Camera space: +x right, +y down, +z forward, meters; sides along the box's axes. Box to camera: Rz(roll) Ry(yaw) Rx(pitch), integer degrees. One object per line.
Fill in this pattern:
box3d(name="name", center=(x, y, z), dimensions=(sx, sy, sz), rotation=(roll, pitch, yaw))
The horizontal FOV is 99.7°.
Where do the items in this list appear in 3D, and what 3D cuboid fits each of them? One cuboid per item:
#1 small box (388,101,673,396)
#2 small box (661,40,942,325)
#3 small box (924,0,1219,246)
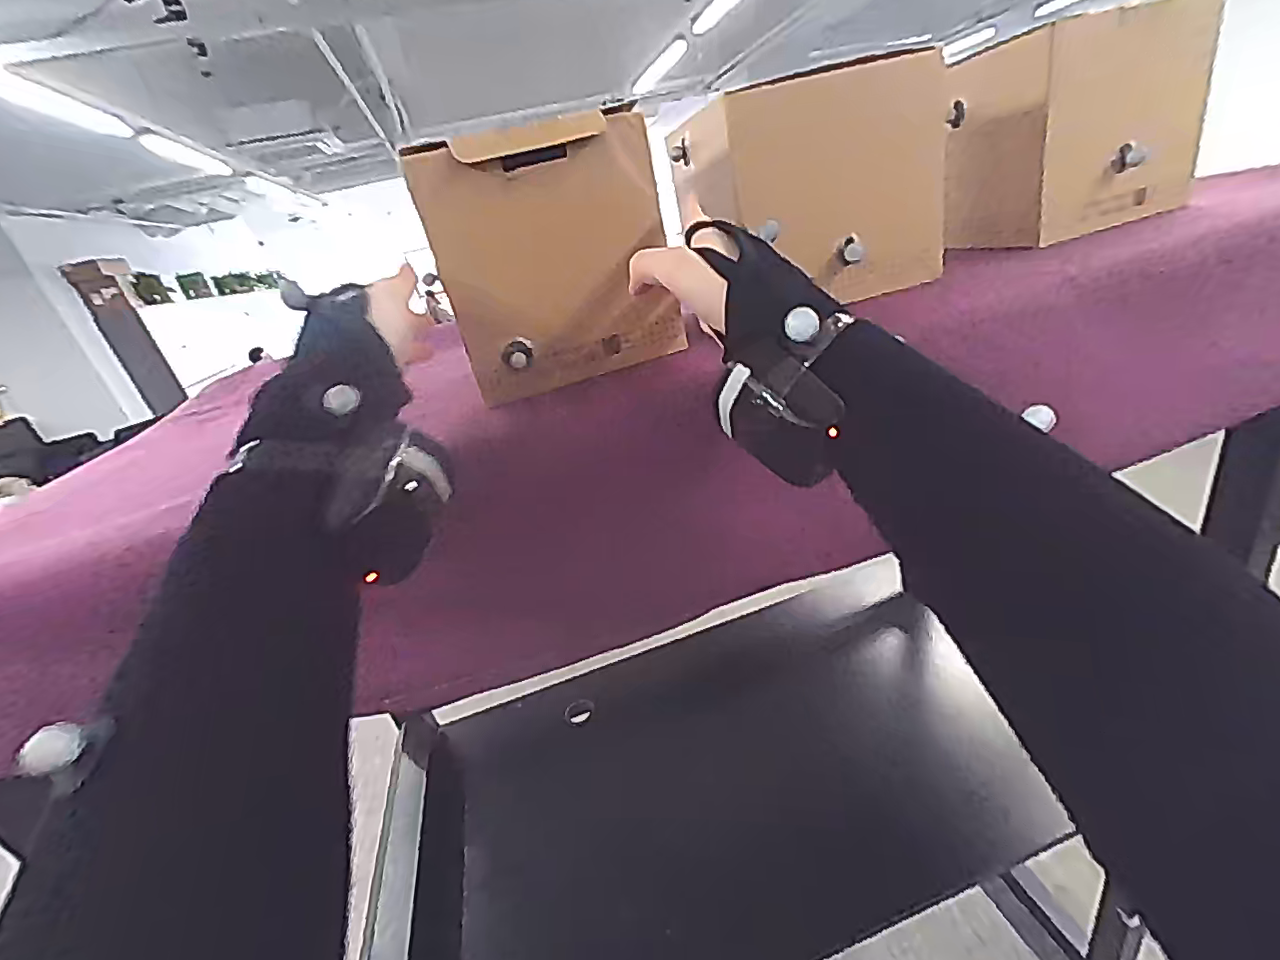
box3d(name="small box", center=(-0.087, -0.179, 0.449), dimensions=(0.168, 0.176, 0.179), rotation=(-19, 25, -12))
box3d(name="small box", center=(0.133, -0.249, 0.482), dimensions=(0.179, 0.176, 0.168), rotation=(-16, 24, -6))
box3d(name="small box", center=(0.385, -0.335, 0.528), dimensions=(0.168, 0.176, 0.179), rotation=(-18, 25, -6))
